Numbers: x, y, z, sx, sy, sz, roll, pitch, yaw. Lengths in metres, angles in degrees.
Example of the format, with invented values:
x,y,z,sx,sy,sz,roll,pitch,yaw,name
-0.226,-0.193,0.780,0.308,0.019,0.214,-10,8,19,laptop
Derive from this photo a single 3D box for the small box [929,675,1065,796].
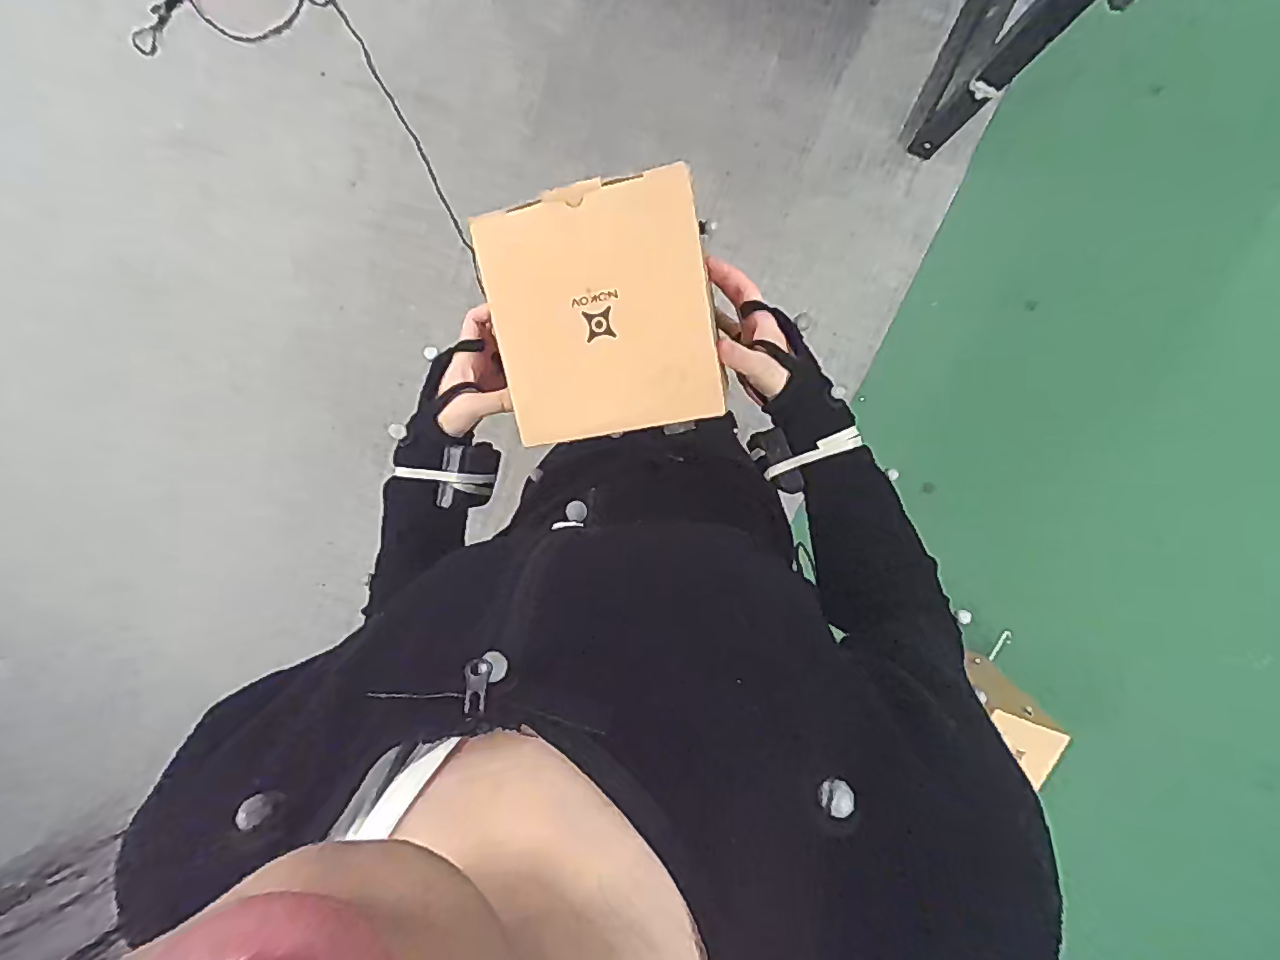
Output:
x,y,z,sx,sy,sz,roll,pitch,yaw,name
0.830,0.592,1.278,0.179,0.176,0.168,20,102,2,small box

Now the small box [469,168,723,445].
x,y,z,sx,sy,sz,roll,pitch,yaw,name
-0.020,-0.142,0.480,0.168,0.176,0.179,-9,103,12,small box
